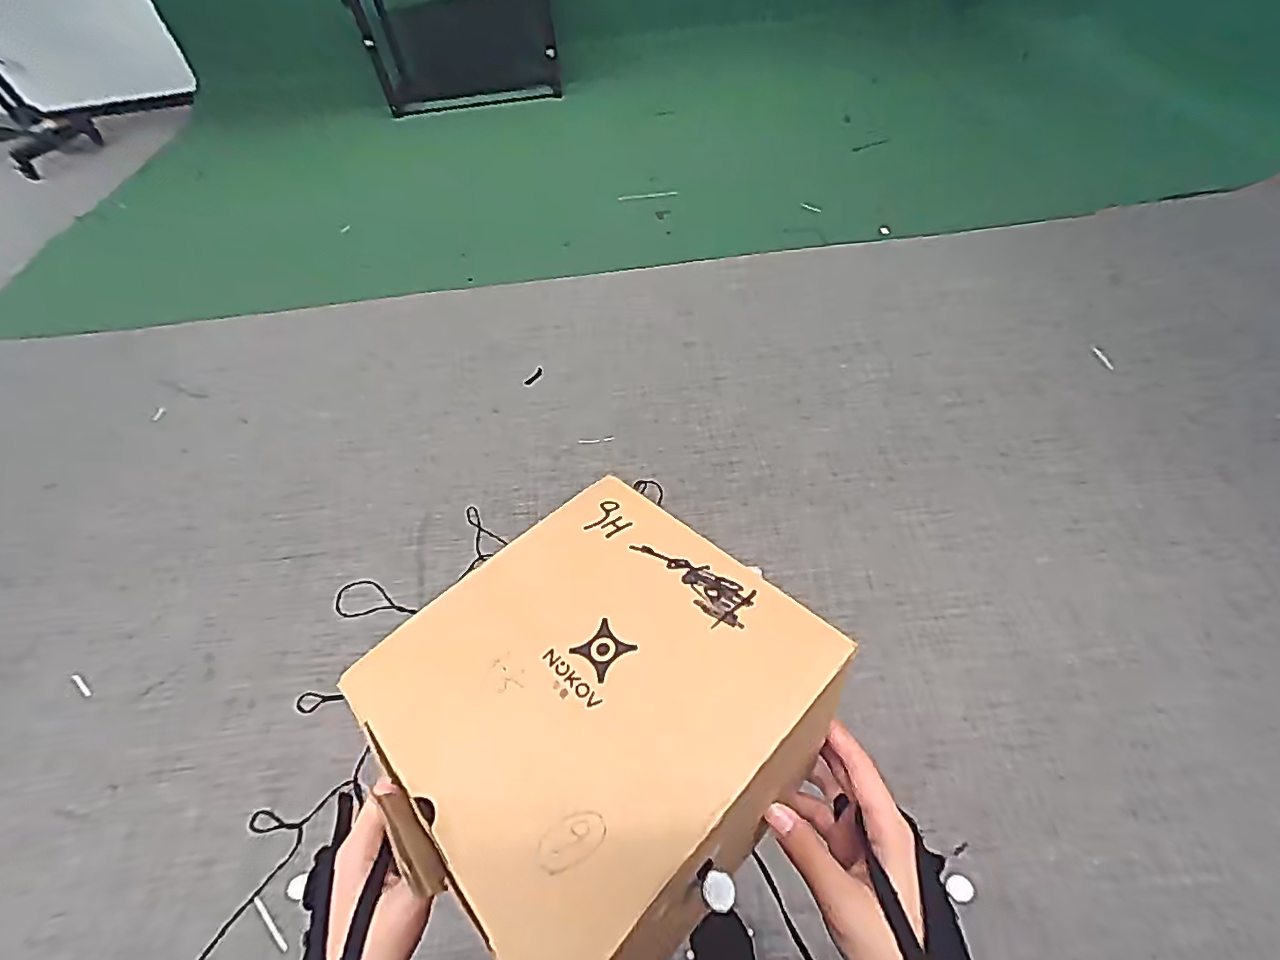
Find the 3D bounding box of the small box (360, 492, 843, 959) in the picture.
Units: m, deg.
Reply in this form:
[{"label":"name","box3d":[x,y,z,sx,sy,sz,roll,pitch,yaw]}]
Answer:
[{"label":"small box","box3d":[-0.012,0.147,0.310,0.179,0.176,0.168,-38,52,-25]}]
